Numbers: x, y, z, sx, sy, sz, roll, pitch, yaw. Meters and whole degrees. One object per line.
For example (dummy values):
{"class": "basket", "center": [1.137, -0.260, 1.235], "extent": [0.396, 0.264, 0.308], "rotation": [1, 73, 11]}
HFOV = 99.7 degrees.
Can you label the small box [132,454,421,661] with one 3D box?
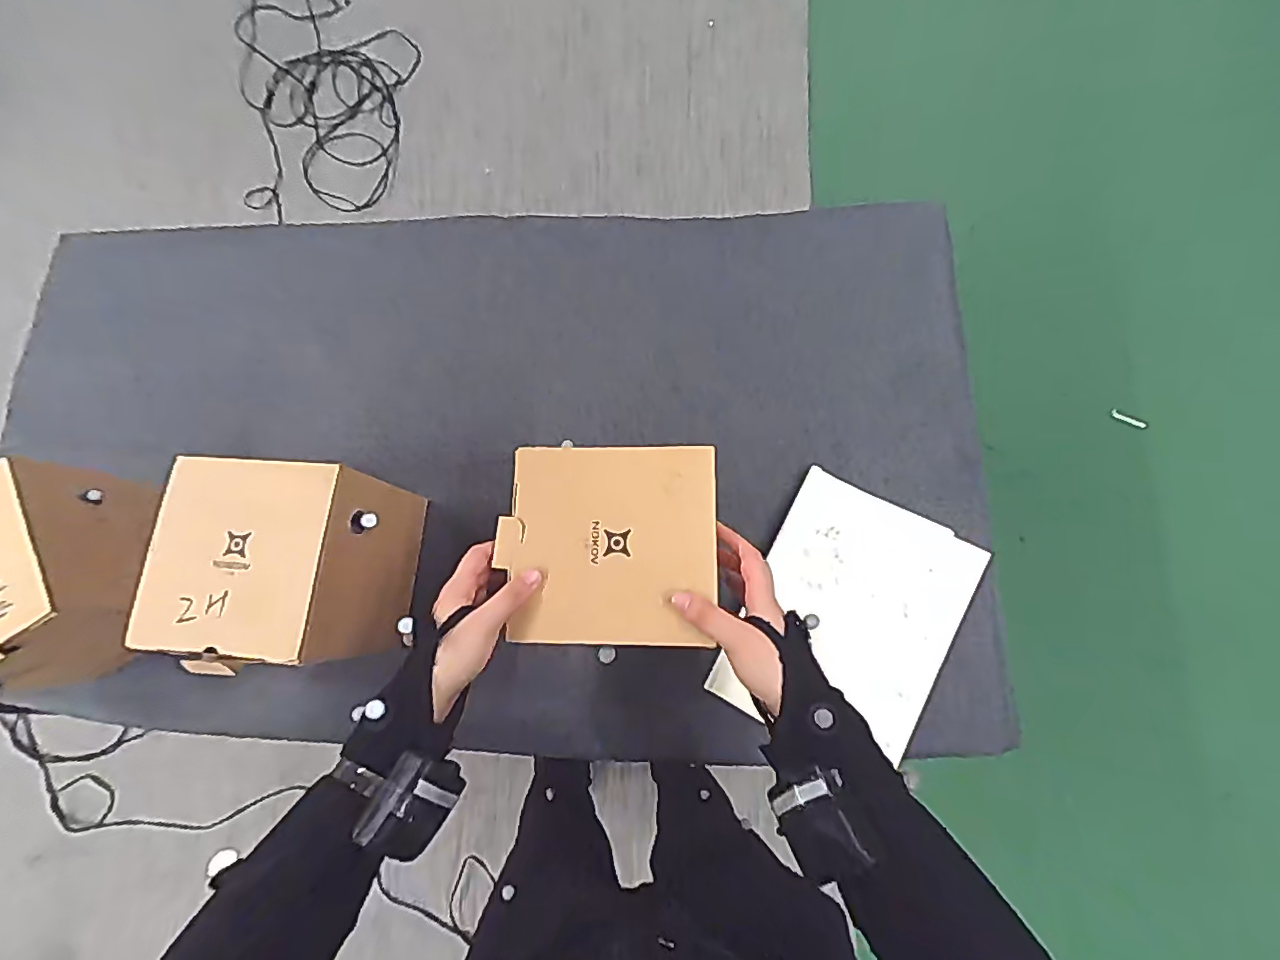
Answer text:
{"class": "small box", "center": [-0.350, 0.082, 0.560], "extent": [0.168, 0.176, 0.179], "rotation": [2, 78, 7]}
